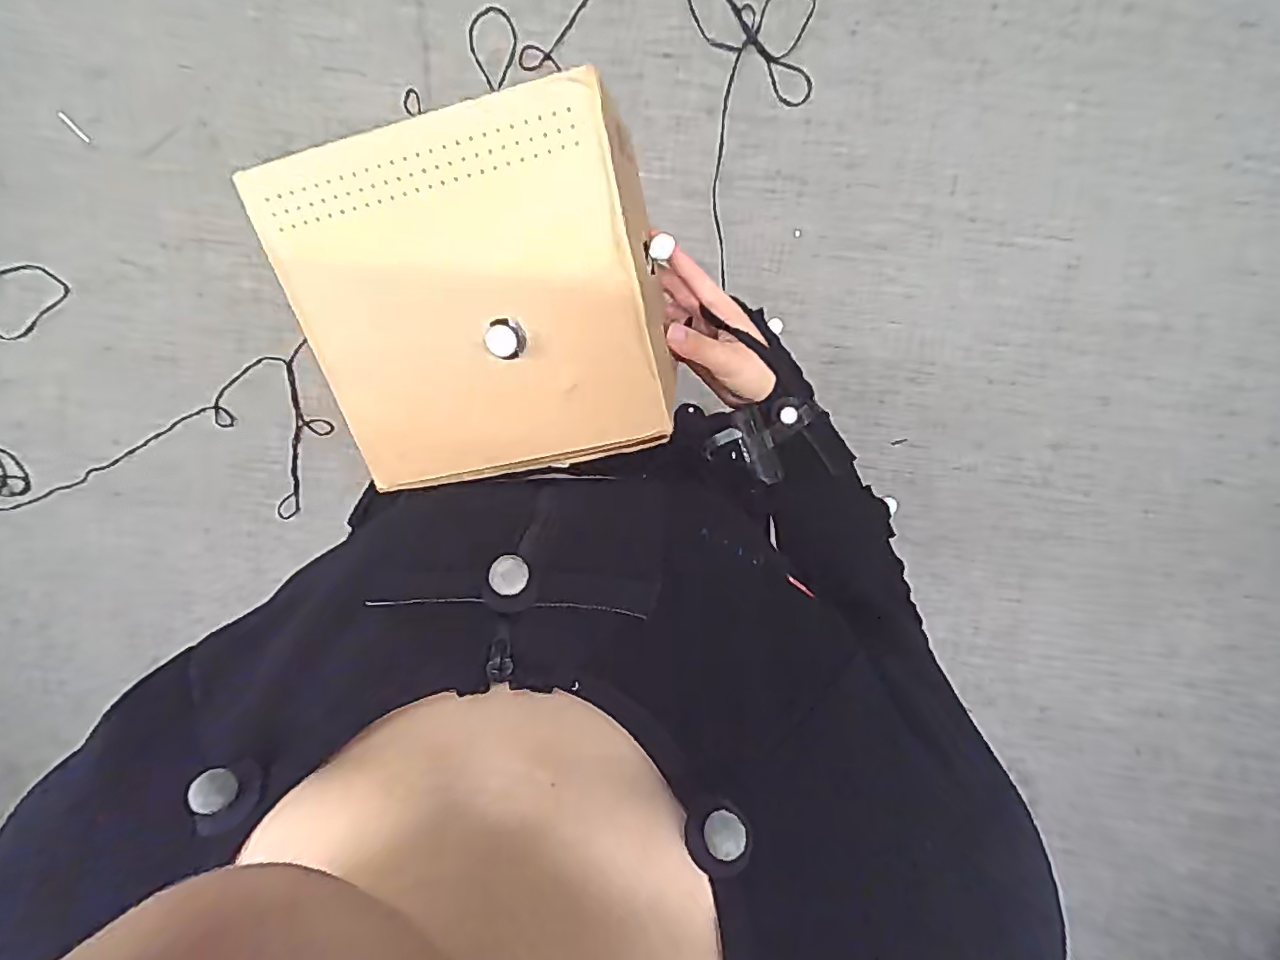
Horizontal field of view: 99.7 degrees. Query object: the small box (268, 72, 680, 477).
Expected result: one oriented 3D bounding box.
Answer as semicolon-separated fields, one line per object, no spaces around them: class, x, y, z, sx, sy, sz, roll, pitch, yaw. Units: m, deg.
small box;-0.078;-0.125;0.344;0.179;0.168;0.176;-11;113;10
